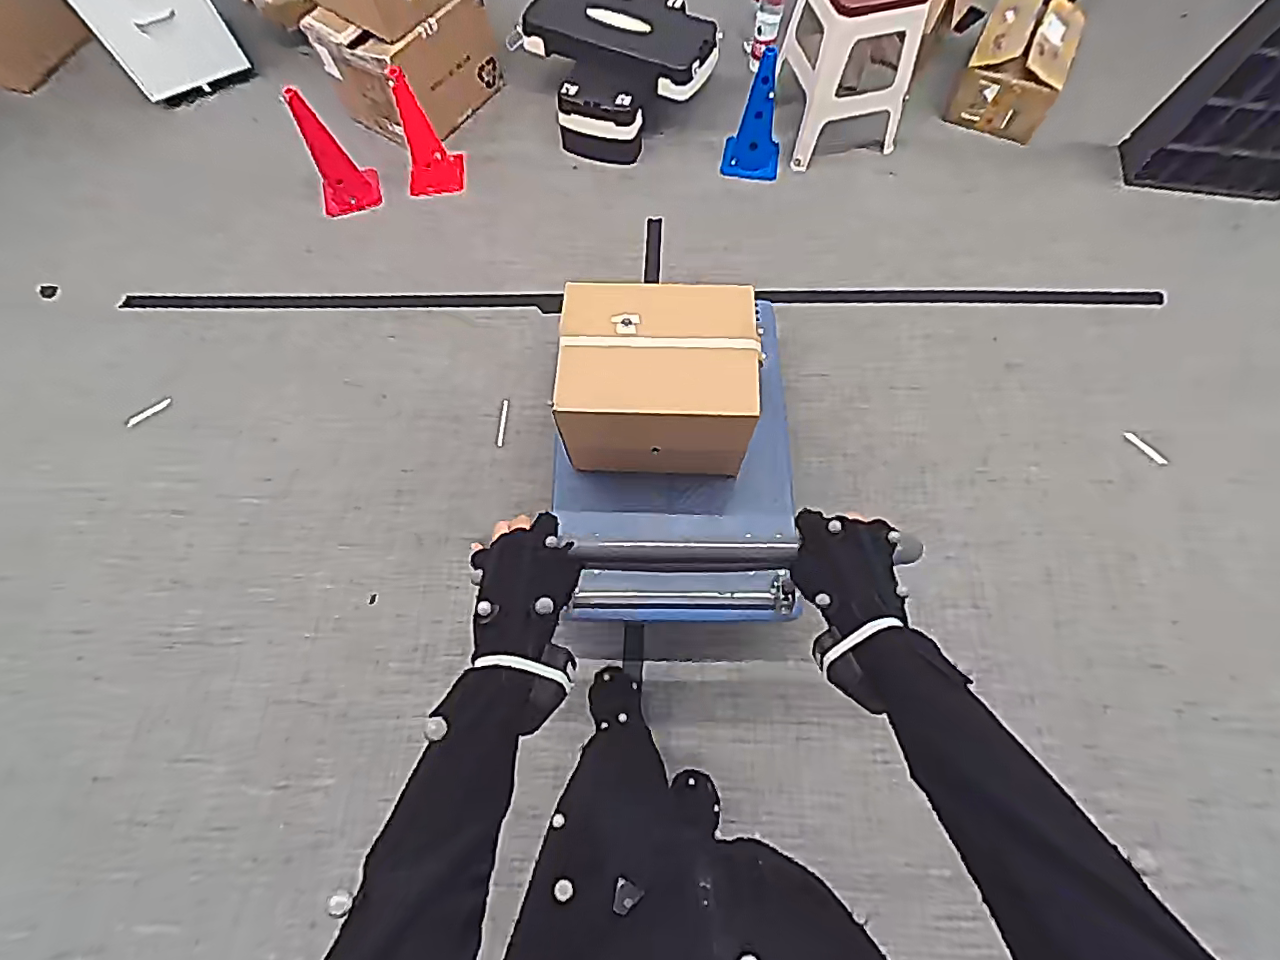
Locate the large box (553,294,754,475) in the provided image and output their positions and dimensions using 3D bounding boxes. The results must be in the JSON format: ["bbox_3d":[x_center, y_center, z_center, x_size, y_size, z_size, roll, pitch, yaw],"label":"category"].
[{"bbox_3d":[0.037,-0.205,1.251,0.408,0.320,0.320,1,69,3],"label":"large box"}]
